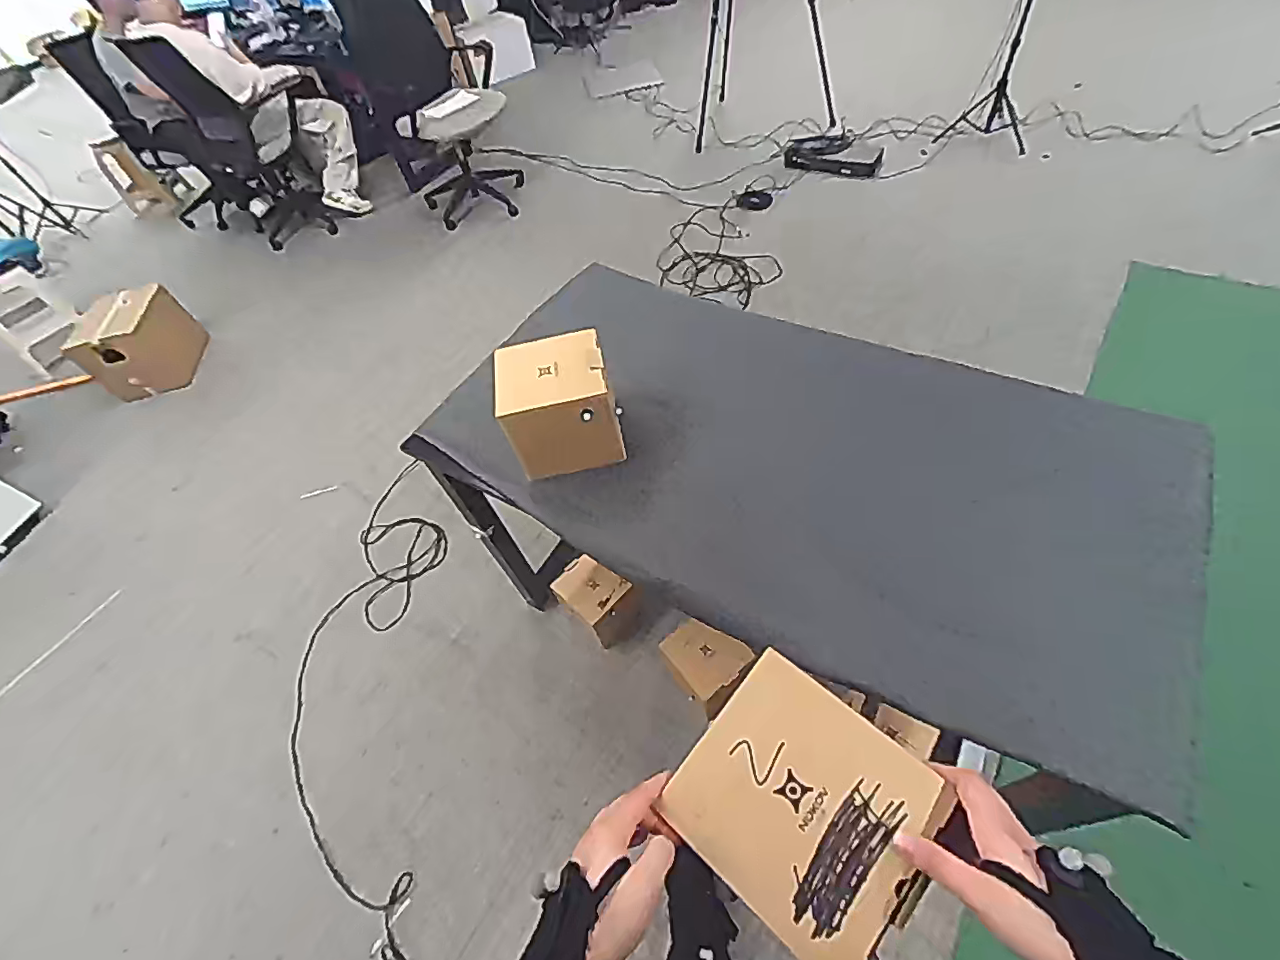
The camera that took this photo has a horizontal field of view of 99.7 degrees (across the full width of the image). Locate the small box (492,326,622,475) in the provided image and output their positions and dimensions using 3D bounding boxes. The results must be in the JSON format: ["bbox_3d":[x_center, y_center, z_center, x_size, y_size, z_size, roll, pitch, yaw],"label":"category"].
[{"bbox_3d":[-0.138,-0.130,0.920,0.179,0.176,0.168,-13,52,0],"label":"small box"}]

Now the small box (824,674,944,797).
[{"bbox_3d":[0.526,0.567,1.191,0.179,0.176,0.168,29,63,27],"label":"small box"}]

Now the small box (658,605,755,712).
[{"bbox_3d":[0.168,0.451,1.345,0.168,0.176,0.179,-35,54,-17],"label":"small box"}]

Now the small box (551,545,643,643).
[{"bbox_3d":[-0.115,0.320,1.497,0.179,0.176,0.168,35,66,31],"label":"small box"}]
